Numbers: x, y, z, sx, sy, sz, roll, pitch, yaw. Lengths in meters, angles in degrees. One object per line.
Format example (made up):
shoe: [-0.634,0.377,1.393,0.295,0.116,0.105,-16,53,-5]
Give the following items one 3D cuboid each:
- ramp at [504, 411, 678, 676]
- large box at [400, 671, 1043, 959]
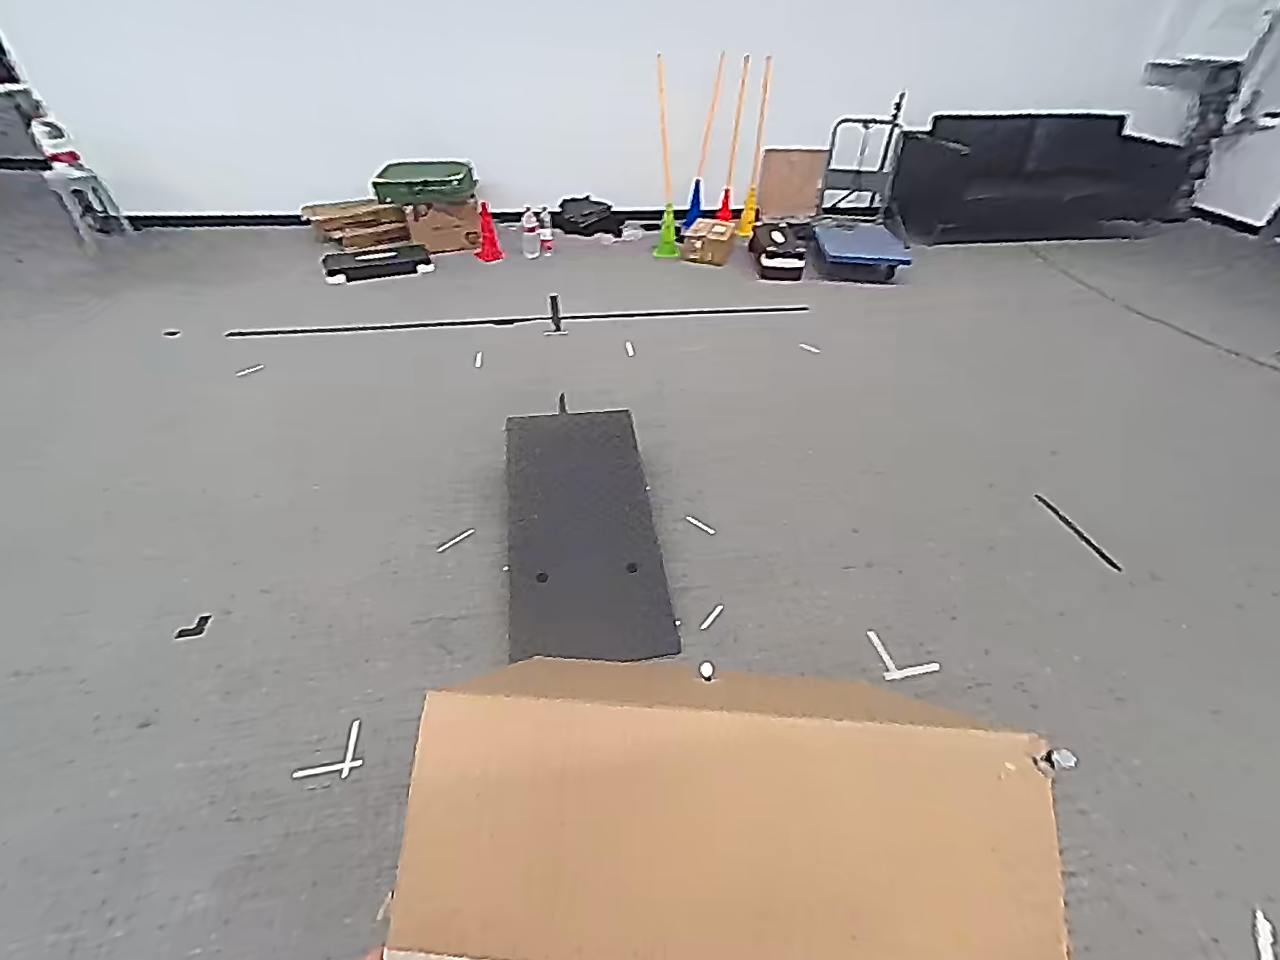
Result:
ramp: [-0.203,0.138,1.839,0.509,0.206,0.991,-5,43,-11]
large box: [0.048,0.345,0.476,0.408,0.320,0.320,2,77,2]
